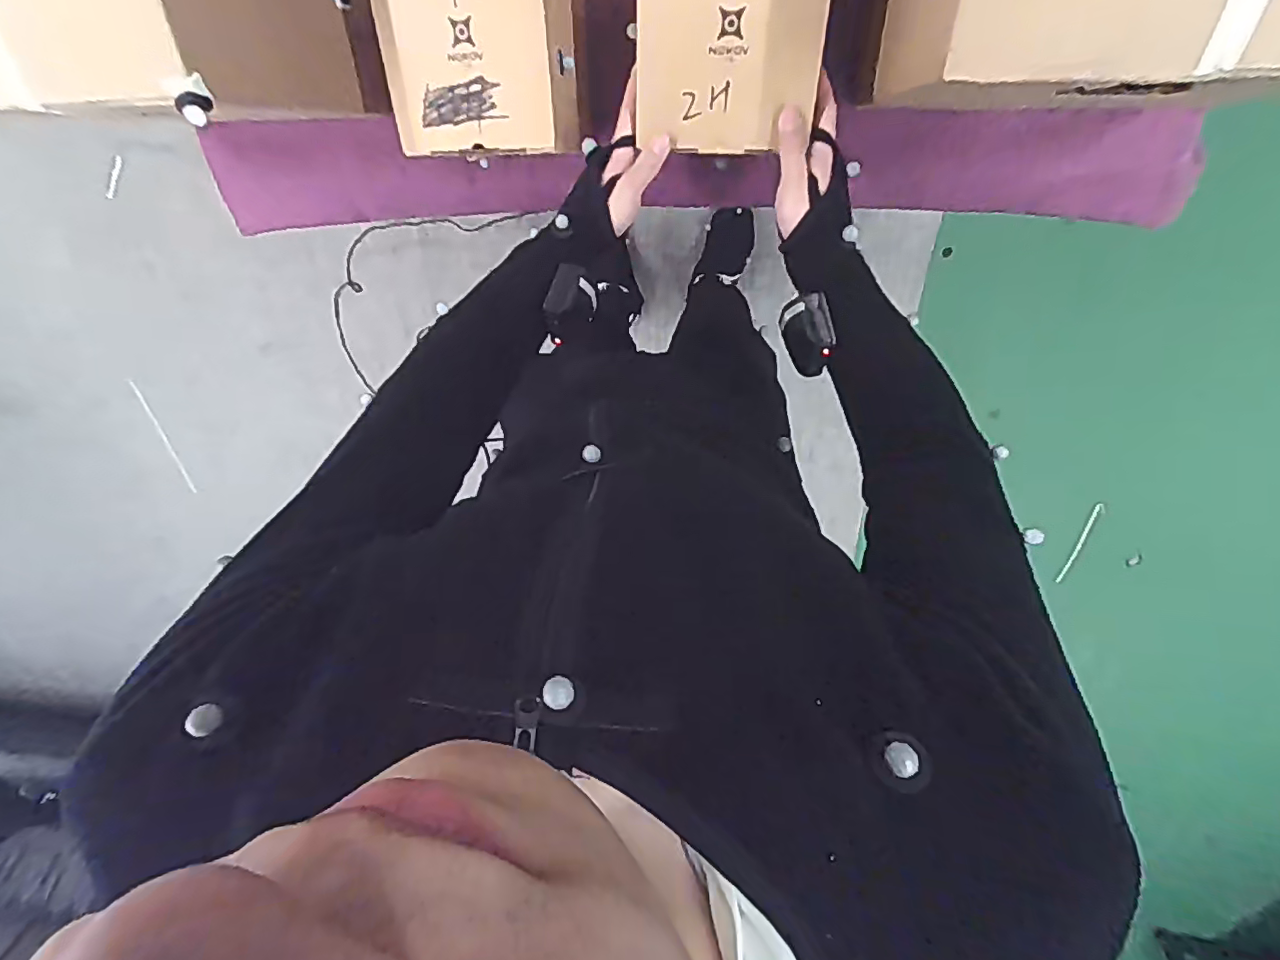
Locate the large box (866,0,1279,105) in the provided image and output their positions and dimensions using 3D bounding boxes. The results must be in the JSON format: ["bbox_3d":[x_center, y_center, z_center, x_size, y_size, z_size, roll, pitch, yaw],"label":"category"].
[{"bbox_3d":[0.378,-0.503,0.362,0.320,0.320,0.408,4,123,8],"label":"large box"}]
